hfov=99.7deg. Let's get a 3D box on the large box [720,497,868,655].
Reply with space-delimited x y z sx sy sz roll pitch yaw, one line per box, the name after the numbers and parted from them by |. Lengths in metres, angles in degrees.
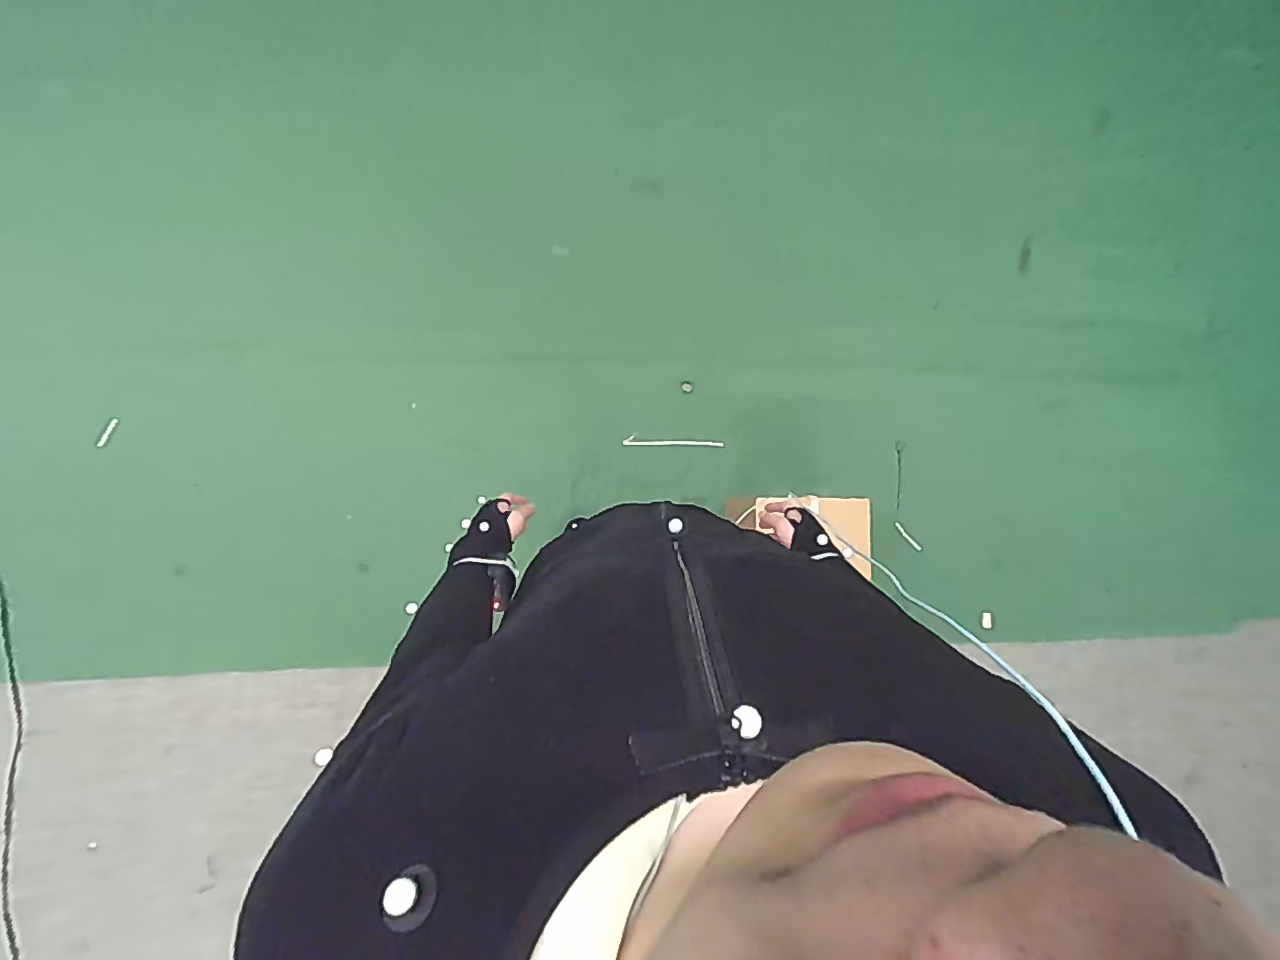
0.422 0.254 1.547 0.320 0.320 0.408 1 86 -6 | large box
